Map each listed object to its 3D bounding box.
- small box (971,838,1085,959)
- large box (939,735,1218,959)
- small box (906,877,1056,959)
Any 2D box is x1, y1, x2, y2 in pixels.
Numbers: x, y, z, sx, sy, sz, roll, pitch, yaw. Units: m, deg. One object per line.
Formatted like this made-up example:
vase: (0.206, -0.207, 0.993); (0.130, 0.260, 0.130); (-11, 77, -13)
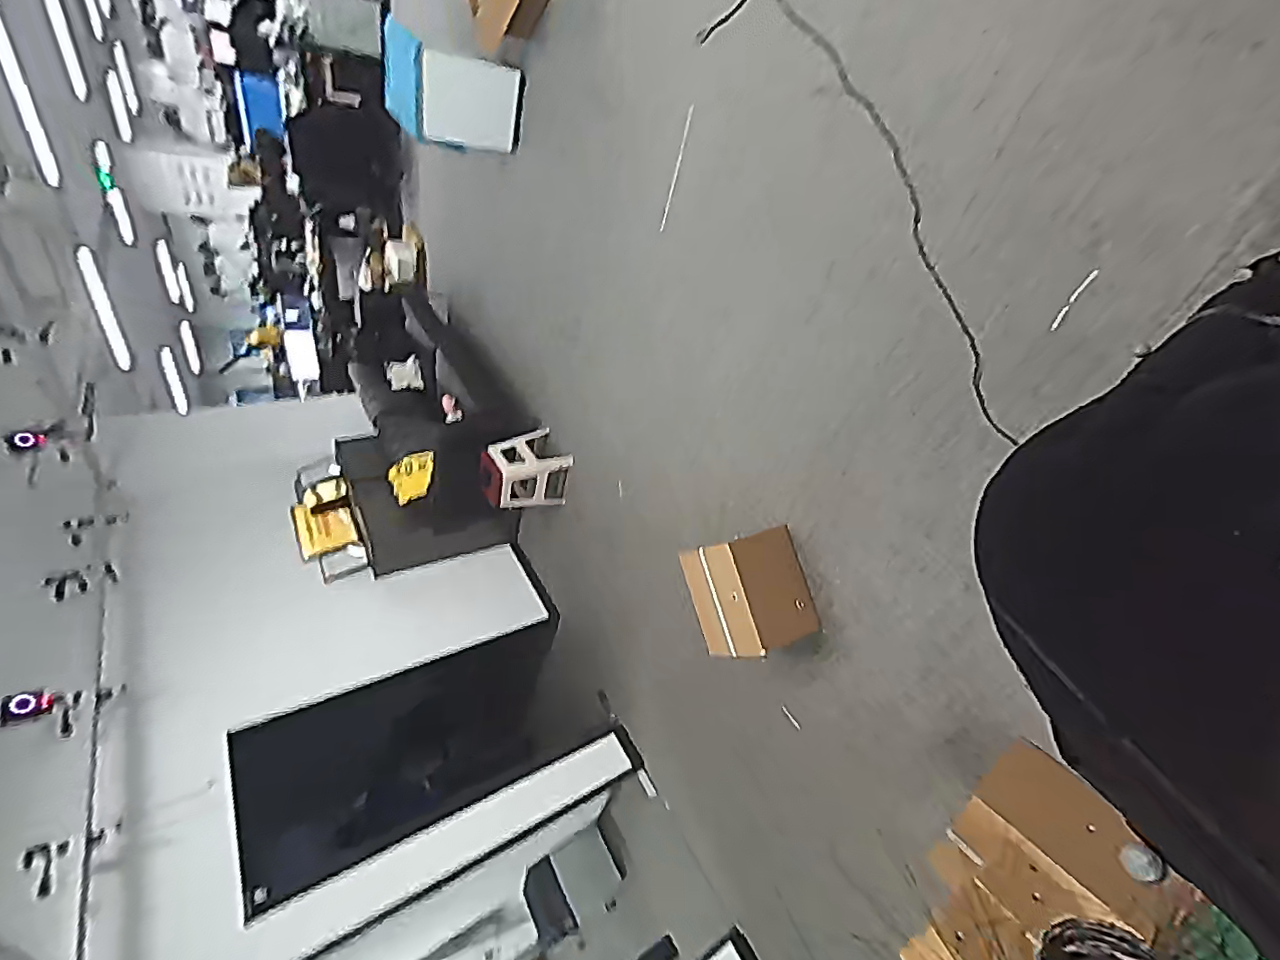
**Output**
small box: (0.834, 0.941, 1.192); (0.168, 0.176, 0.179); (43, 133, 41)
large box: (1.045, 0.932, 1.325); (0.408, 0.320, 0.320); (35, 130, 43)
small box: (0.699, 0.975, 1.109); (0.179, 0.176, 0.168); (44, 134, 40)
